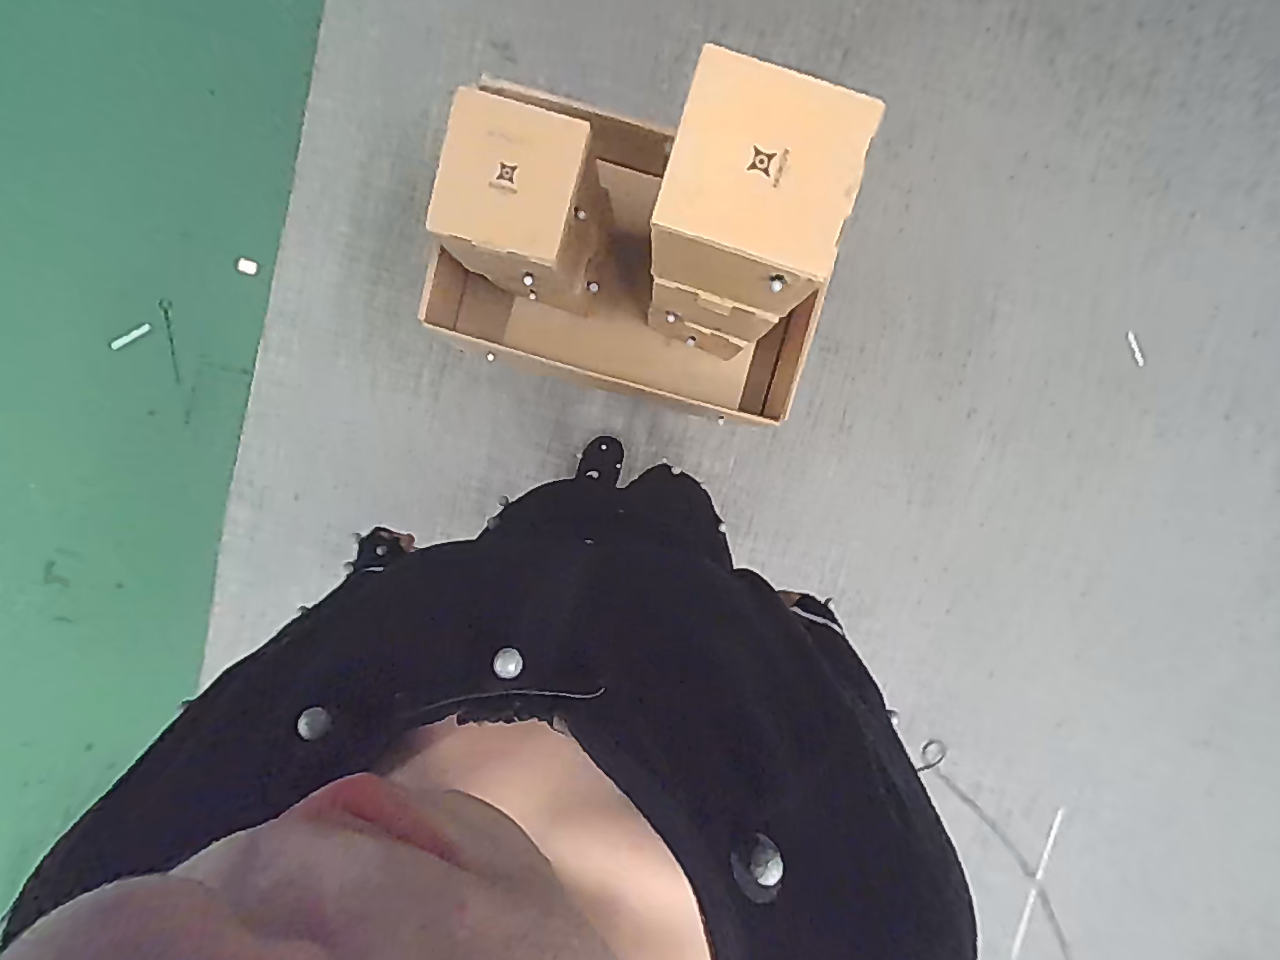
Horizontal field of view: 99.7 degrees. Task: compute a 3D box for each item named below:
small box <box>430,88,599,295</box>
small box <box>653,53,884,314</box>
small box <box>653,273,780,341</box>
[{"bbox_3d":[-0.157,-0.373,0.736,0.168,0.176,0.179,17,95,-2],"label":"small box"},{"bbox_3d":[0.118,-0.294,0.581,0.179,0.176,0.168,18,95,-2],"label":"small box"},{"bbox_3d":[0.122,-0.306,0.743,0.168,0.176,0.179,19,94,-2],"label":"small box"}]
